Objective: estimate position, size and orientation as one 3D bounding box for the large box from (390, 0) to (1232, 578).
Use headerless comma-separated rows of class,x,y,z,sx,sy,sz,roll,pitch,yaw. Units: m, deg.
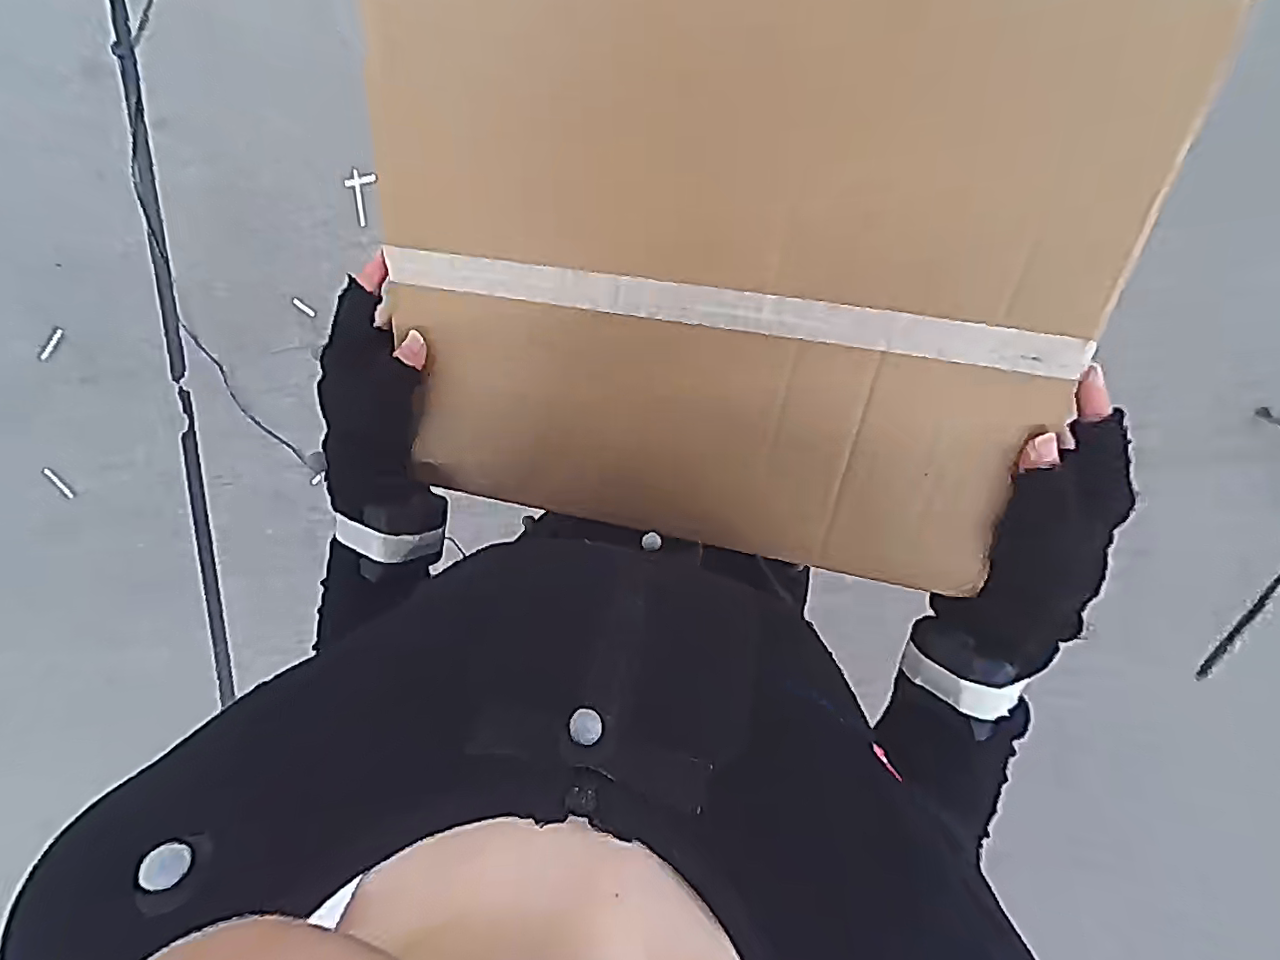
large box,0.073,-0.165,0.453,0.408,0.320,0.320,11,117,8
